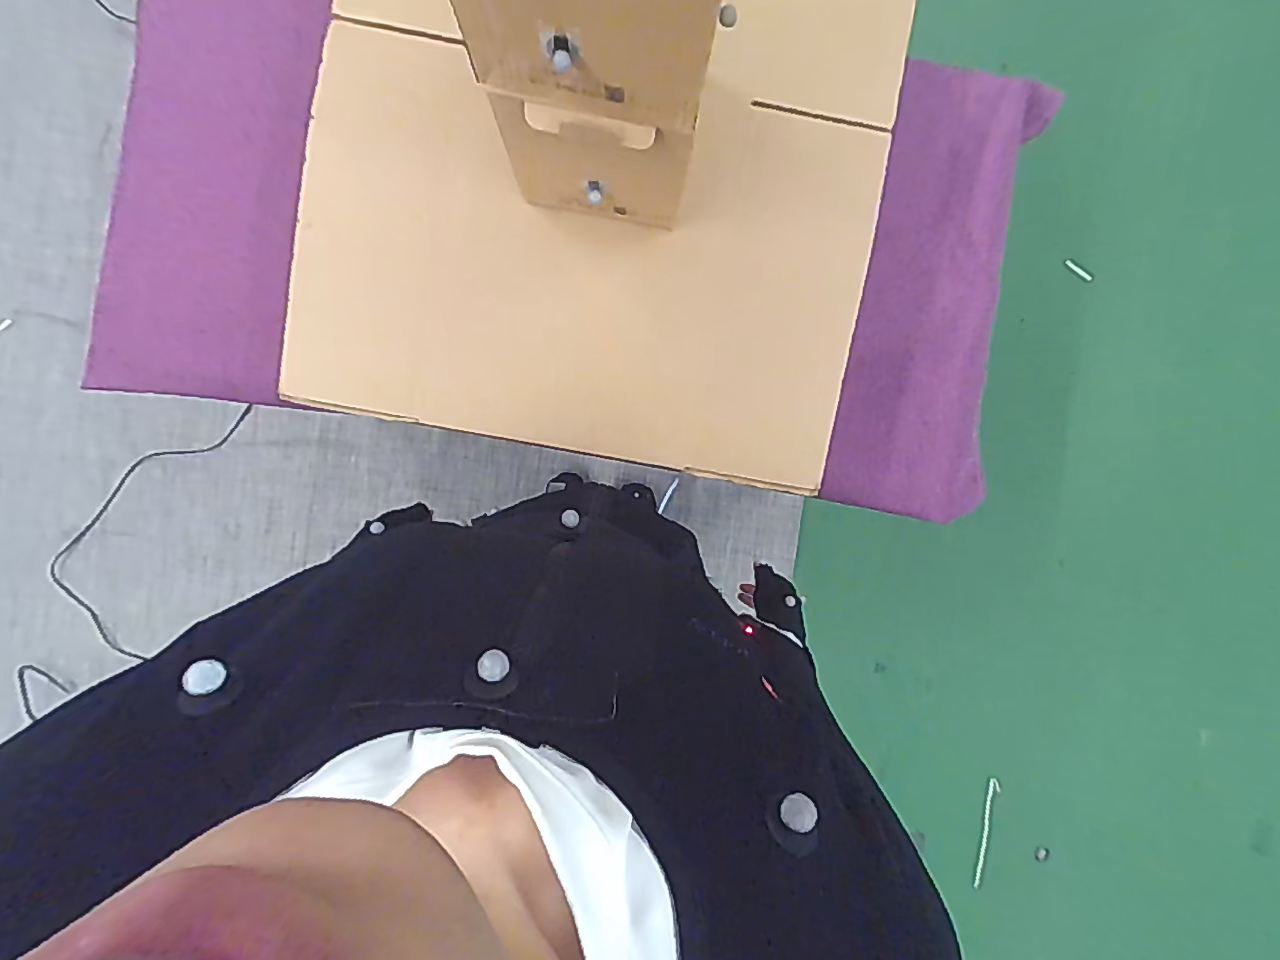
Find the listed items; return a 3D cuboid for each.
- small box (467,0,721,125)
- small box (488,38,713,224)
[{"bbox_3d":[-0.020,-0.370,0.333,0.168,0.176,0.179,10,90,-2],"label":"small box"},{"bbox_3d":[-0.025,-0.371,0.496,0.168,0.176,0.179,10,90,-2],"label":"small box"}]
